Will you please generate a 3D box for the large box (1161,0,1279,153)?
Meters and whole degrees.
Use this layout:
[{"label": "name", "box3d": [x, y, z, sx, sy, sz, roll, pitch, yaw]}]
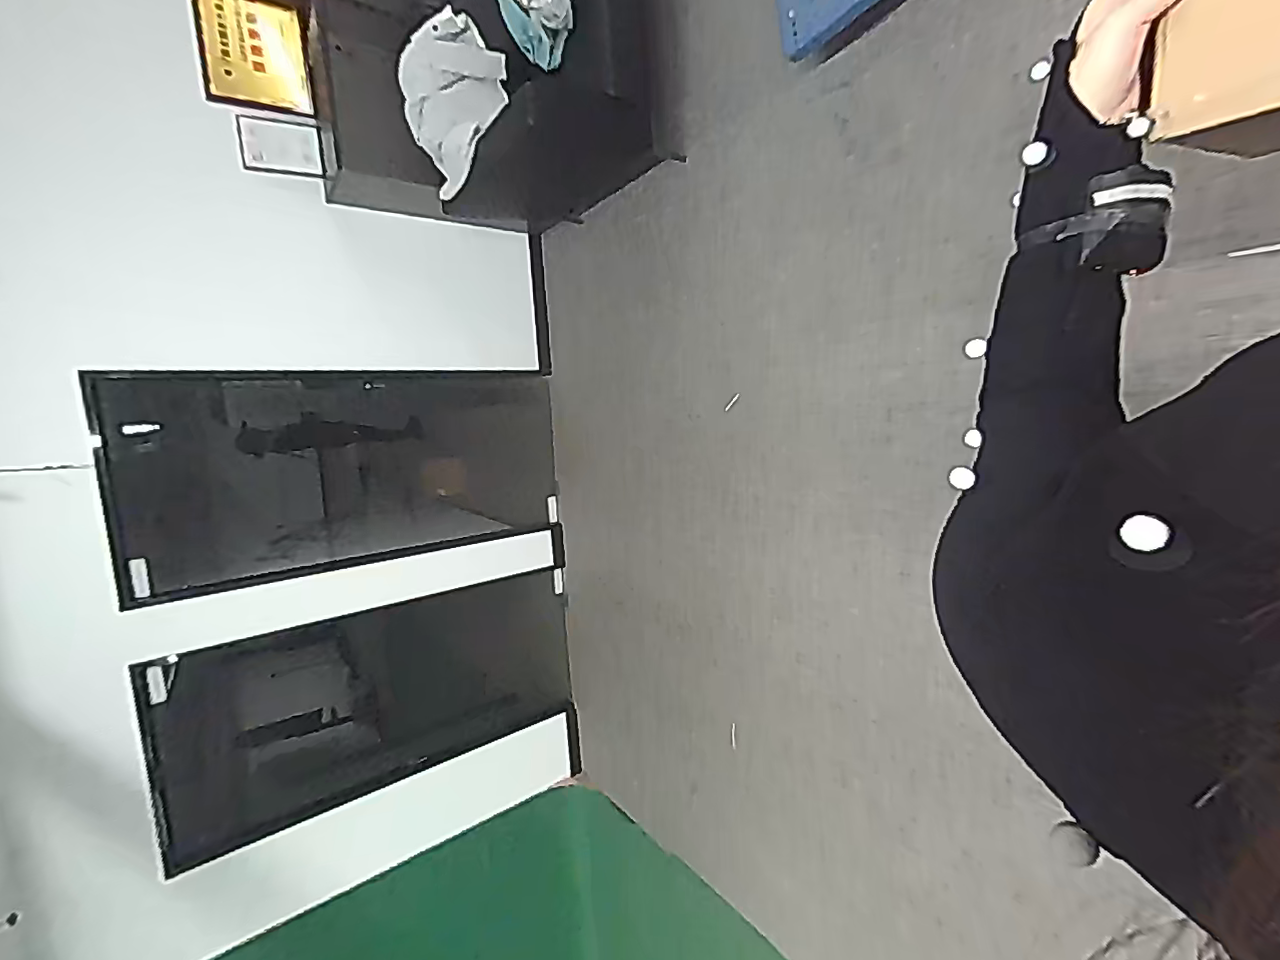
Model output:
[{"label": "large box", "box3d": [0.589, -0.410, 0.272, 0.408, 0.320, 0.320, 12, 115, 56]}]
